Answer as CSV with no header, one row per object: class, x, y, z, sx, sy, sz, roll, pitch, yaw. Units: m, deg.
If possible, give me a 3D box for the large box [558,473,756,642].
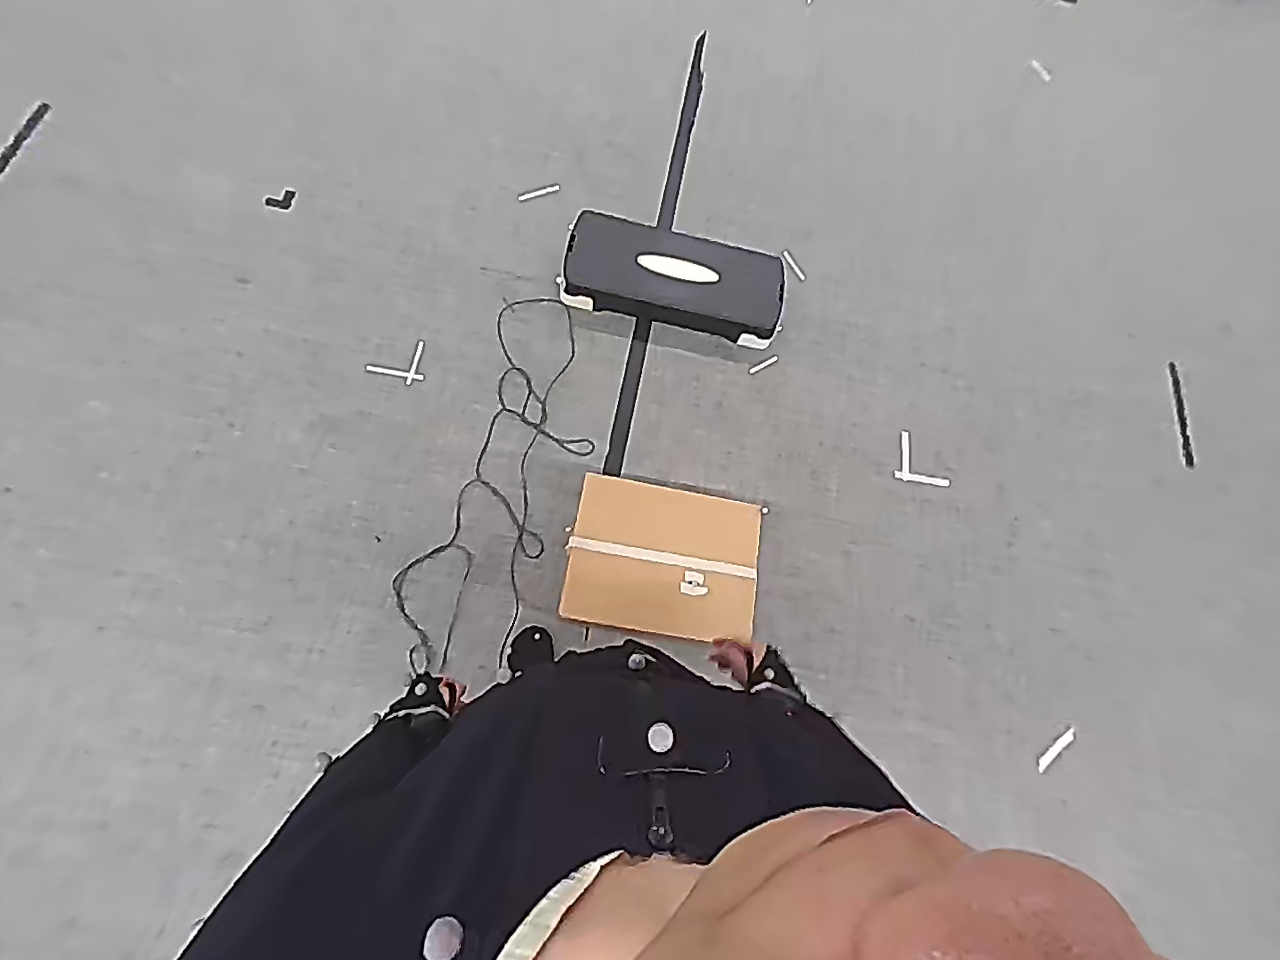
large box,0.025,0.203,1.299,0.408,0.320,0.320,11,73,-6
